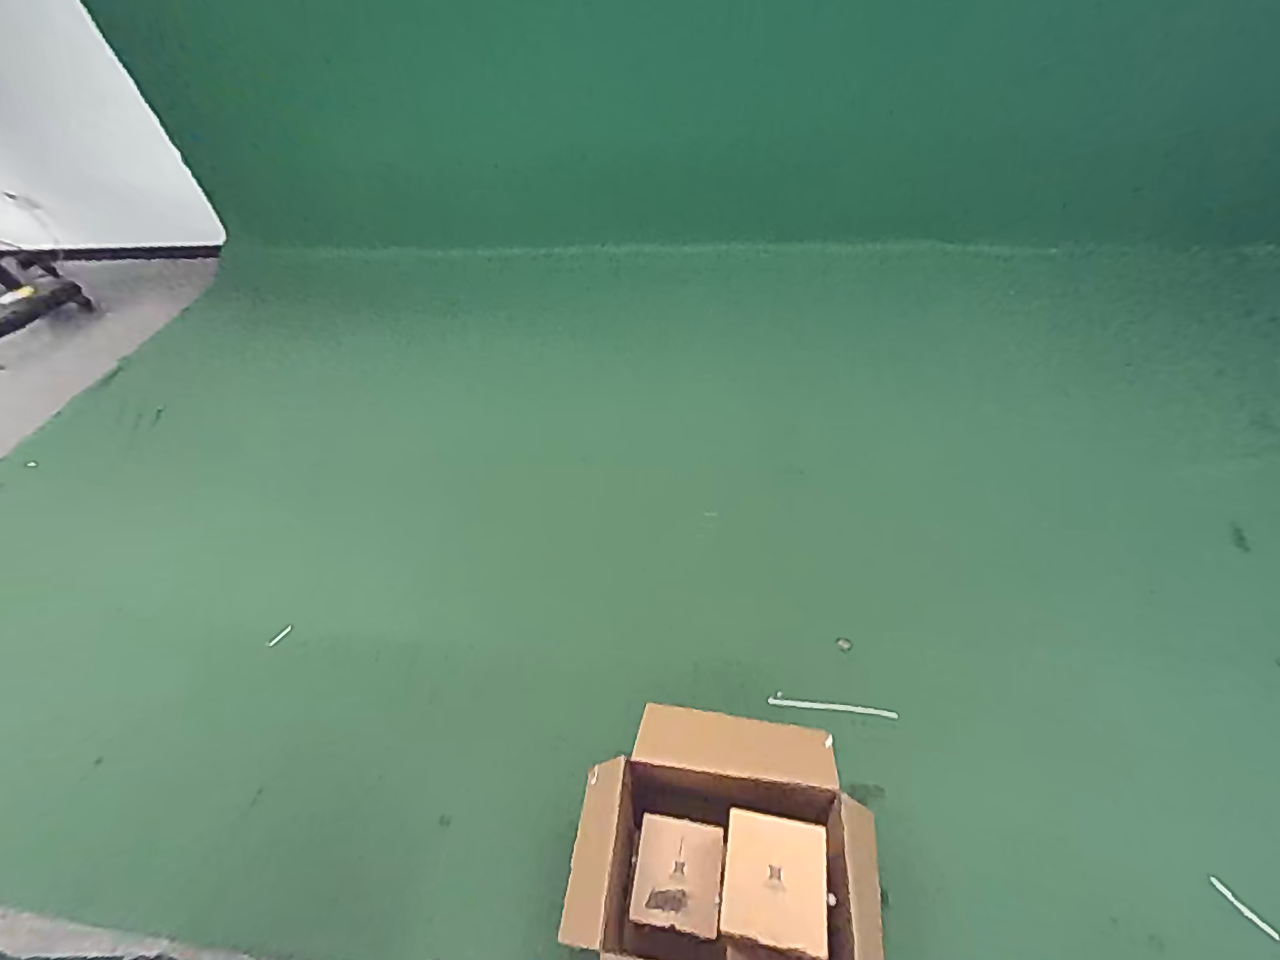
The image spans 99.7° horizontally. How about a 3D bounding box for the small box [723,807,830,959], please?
[{"bbox_3d":[0.238,0.711,0.953,0.168,0.176,0.179,4,48,14],"label":"small box"}]
